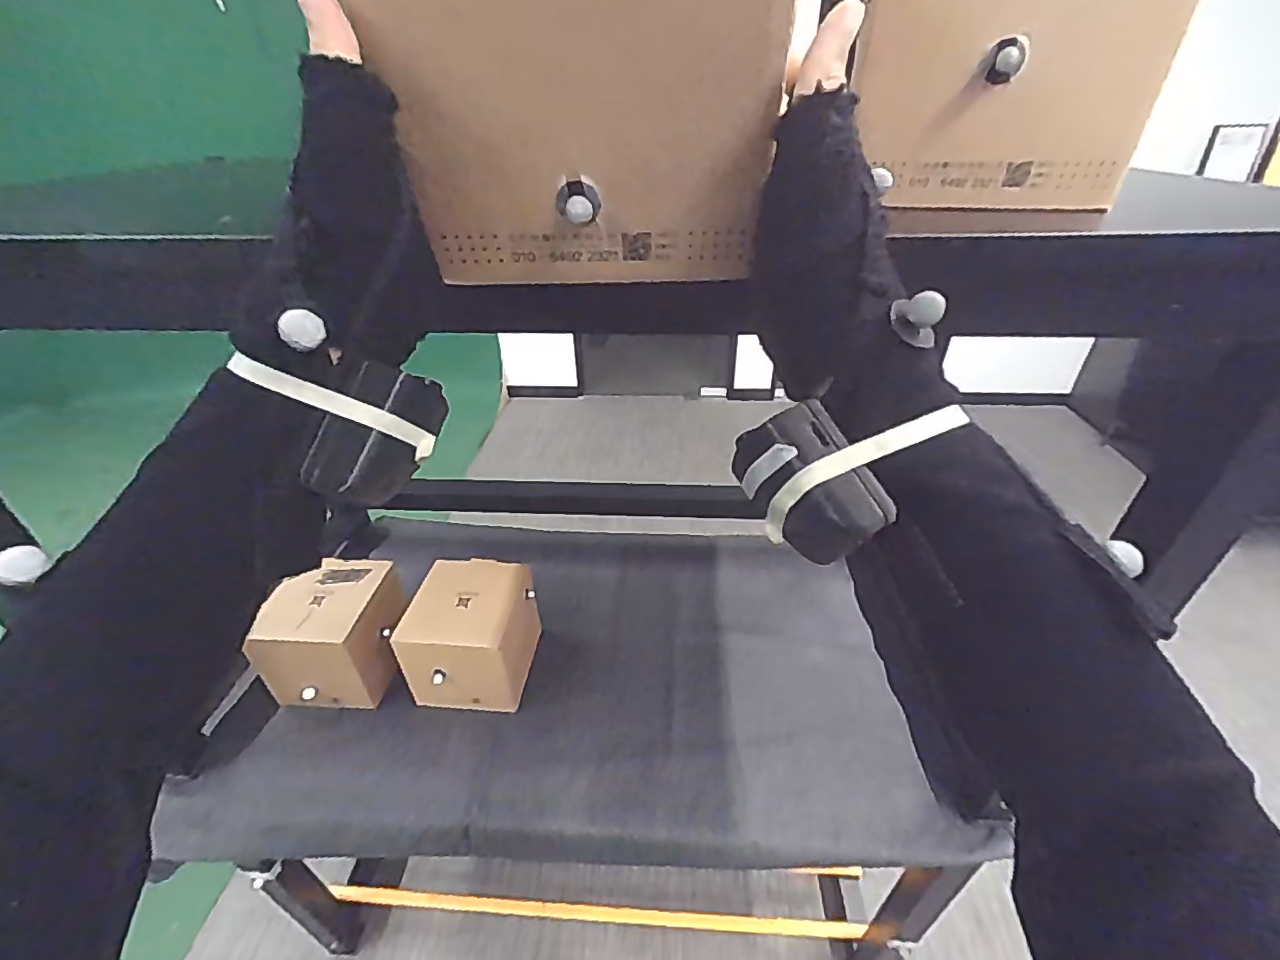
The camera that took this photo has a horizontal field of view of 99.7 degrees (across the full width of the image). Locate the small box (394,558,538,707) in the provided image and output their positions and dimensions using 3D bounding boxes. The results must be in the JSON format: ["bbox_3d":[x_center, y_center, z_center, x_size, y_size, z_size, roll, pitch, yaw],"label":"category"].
[{"bbox_3d":[-0.275,0.253,0.902,0.168,0.176,0.179,2,34,4],"label":"small box"}]

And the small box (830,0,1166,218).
[{"bbox_3d":[0.240,-0.296,0.397,0.168,0.176,0.179,8,35,13],"label":"small box"}]

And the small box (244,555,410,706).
[{"bbox_3d":[-0.502,0.249,0.908,0.168,0.176,0.179,2,35,3],"label":"small box"}]
